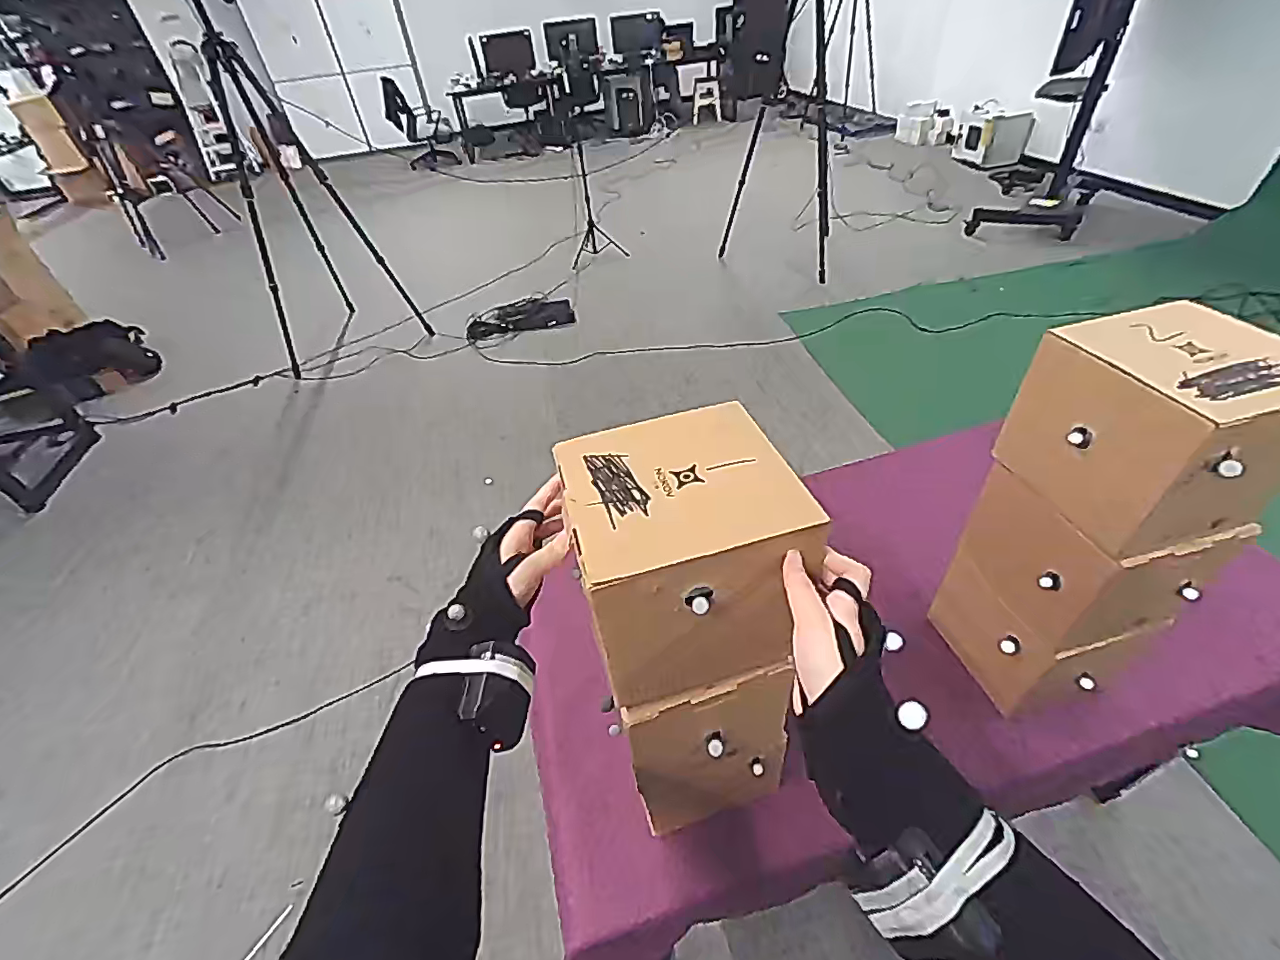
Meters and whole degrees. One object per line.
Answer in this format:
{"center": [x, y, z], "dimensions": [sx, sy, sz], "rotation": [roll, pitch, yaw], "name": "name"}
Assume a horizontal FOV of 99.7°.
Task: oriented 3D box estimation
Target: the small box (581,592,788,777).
{"center": [0.043, 0.196, 0.590], "dimensions": [0.168, 0.176, 0.179], "rotation": [-16, 43, -10], "name": "small box"}

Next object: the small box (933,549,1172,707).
{"center": [0.550, 0.192, 0.753], "dimensions": [0.168, 0.176, 0.179], "rotation": [-14, 42, -6], "name": "small box"}

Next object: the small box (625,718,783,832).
{"center": [0.066, 0.318, 0.698], "dimensions": [0.179, 0.176, 0.168], "rotation": [-16, 42, -9], "name": "small box"}

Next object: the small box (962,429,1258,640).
{"center": [0.531, 0.070, 0.647], "dimensions": [0.168, 0.176, 0.179], "rotation": [-13, 42, -5], "name": "small box"}

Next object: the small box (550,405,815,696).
{"center": [0.032, 0.062, 0.478], "dimensions": [0.179, 0.176, 0.168], "rotation": [-14, 41, -7], "name": "small box"}
